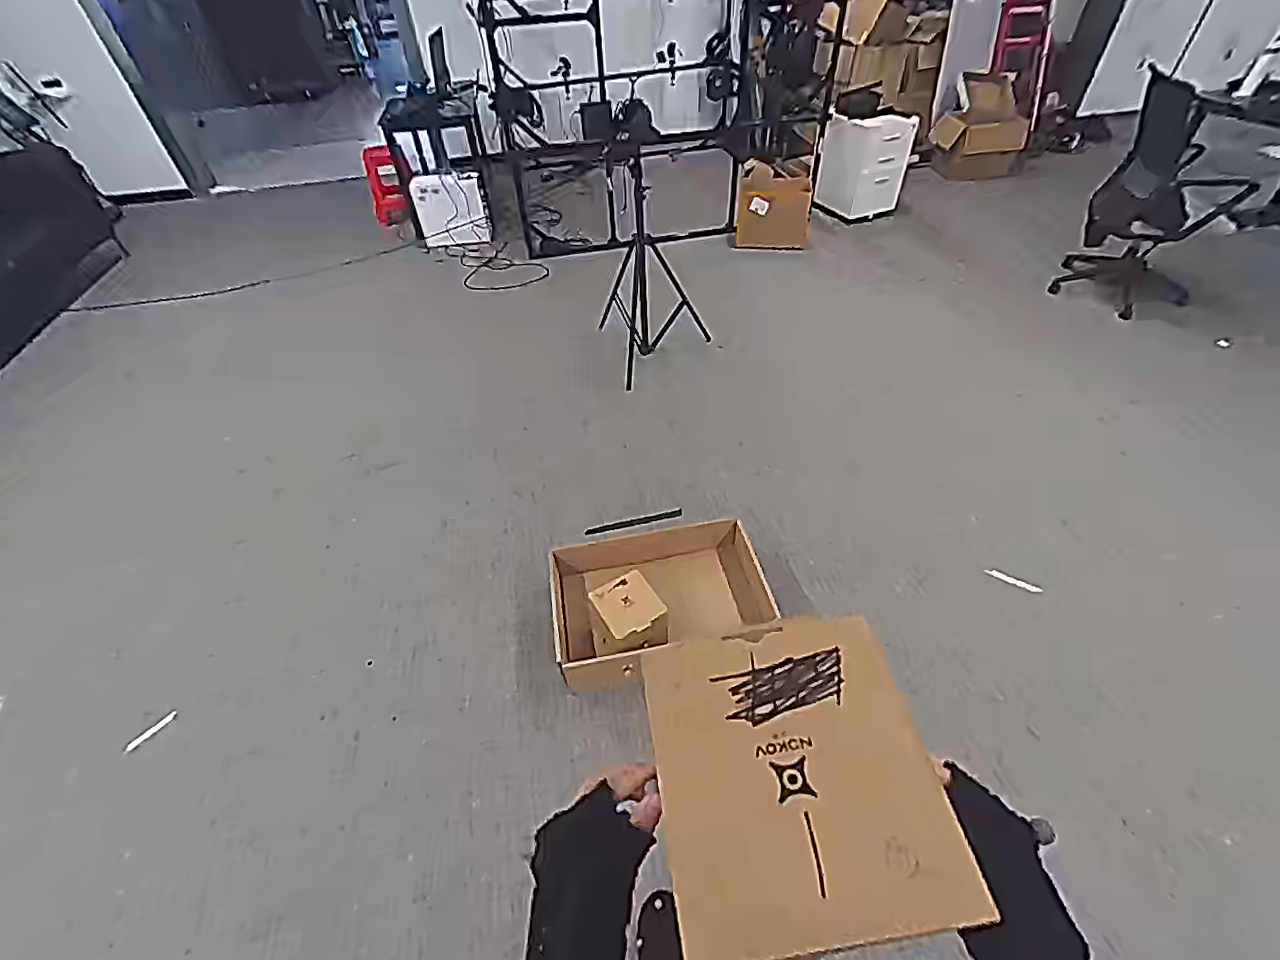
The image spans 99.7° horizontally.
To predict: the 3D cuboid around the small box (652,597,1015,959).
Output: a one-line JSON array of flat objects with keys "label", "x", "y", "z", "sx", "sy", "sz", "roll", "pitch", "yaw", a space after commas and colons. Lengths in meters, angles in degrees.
[{"label": "small box", "x": 0.105, "y": 0.209, "z": 0.384, "sx": 0.168, "sy": 0.176, "sz": 0.179, "roll": -10, "pitch": 53, "yaw": 0}]
